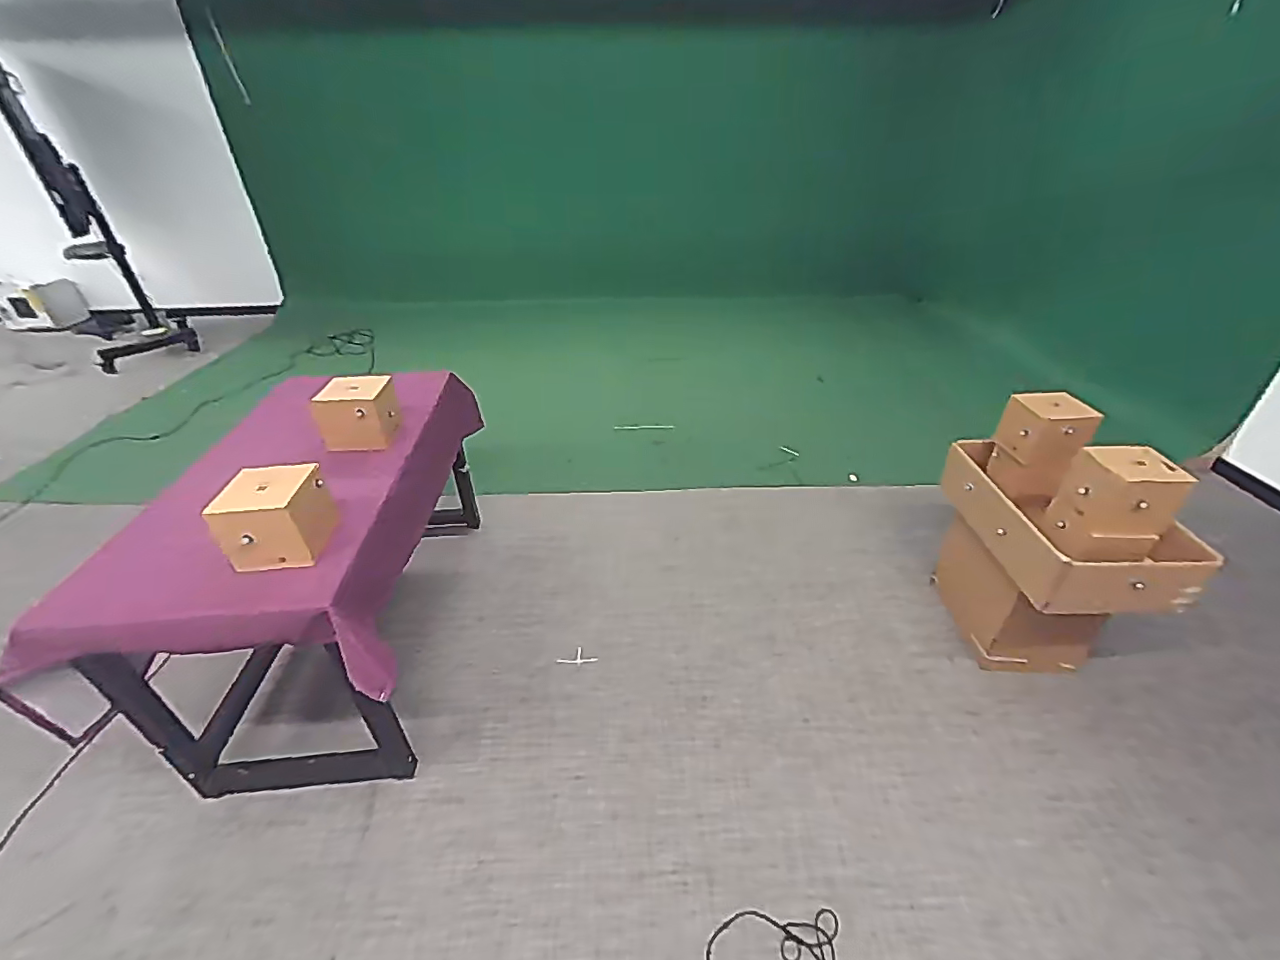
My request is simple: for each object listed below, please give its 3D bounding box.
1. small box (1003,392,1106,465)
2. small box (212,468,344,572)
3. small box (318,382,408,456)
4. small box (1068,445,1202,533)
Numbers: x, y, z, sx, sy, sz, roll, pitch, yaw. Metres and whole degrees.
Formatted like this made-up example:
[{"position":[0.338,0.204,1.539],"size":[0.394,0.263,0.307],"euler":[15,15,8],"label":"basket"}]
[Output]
[{"position":[1.256,-0.157,1.662],"size":[0.179,0.176,0.168],"euler":[-3,34,-2],"label":"small box"},{"position":[-0.803,0.095,1.226],"size":[0.168,0.176,0.179],"euler":[-5,33,-4],"label":"small box"},{"position":[-0.829,-0.184,1.644],"size":[0.179,0.176,0.168],"euler":[-3,33,-1],"label":"small box"},{"position":[1.252,0.024,1.390],"size":[0.179,0.176,0.168],"euler":[0,34,3],"label":"small box"}]
